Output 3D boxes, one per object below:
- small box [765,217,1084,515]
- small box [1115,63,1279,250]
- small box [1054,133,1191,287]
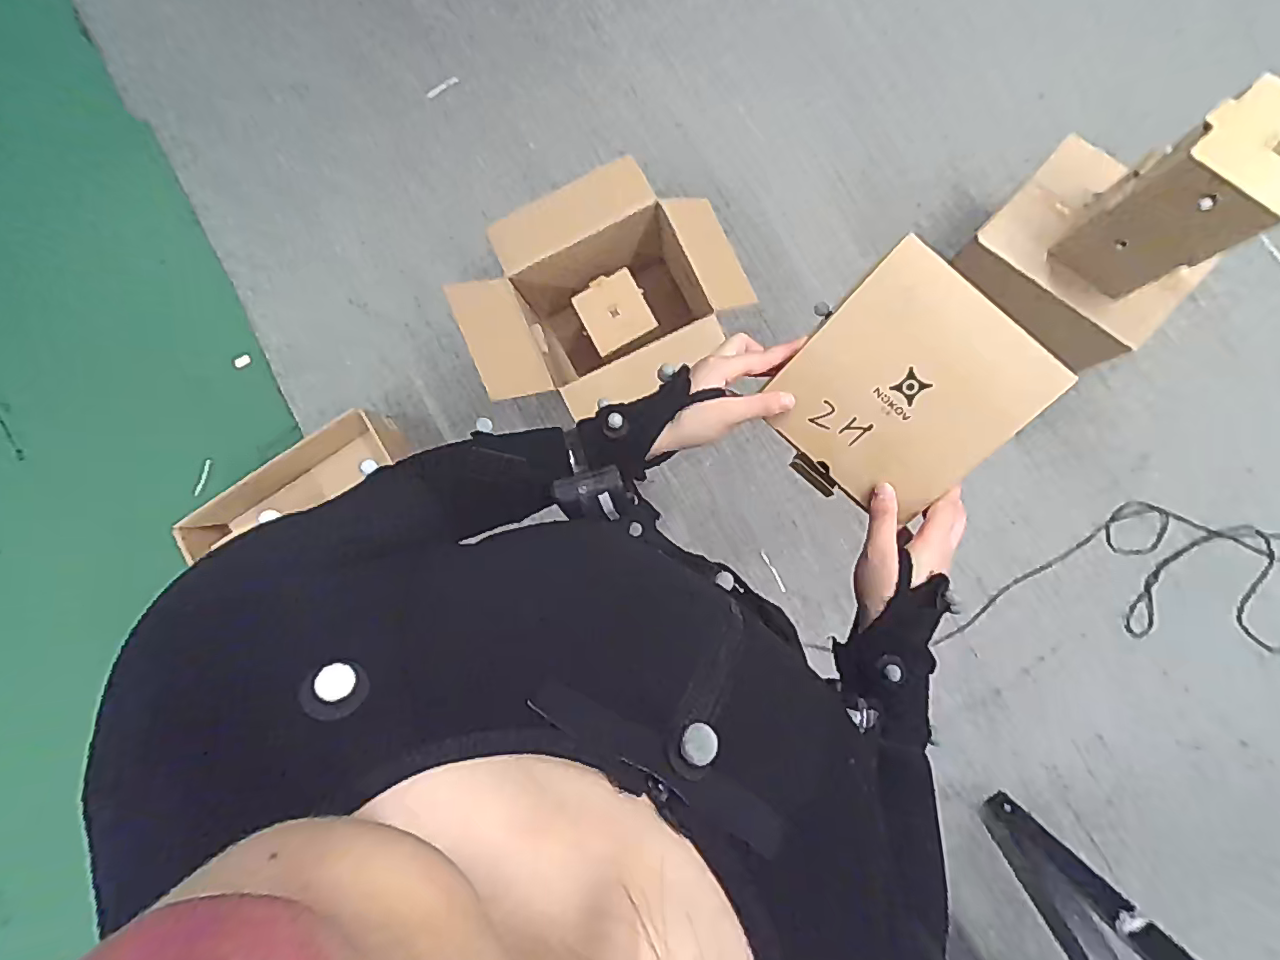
[{"bbox_3d":[0.235,-0.102,0.502,0.168,0.176,0.179,43,111,2],"label":"small box"},{"bbox_3d":[0.963,-0.513,0.890,0.179,0.176,0.168,42,93,8],"label":"small box"},{"bbox_3d":[0.973,-0.512,1.052,0.179,0.176,0.168,42,92,7],"label":"small box"}]
